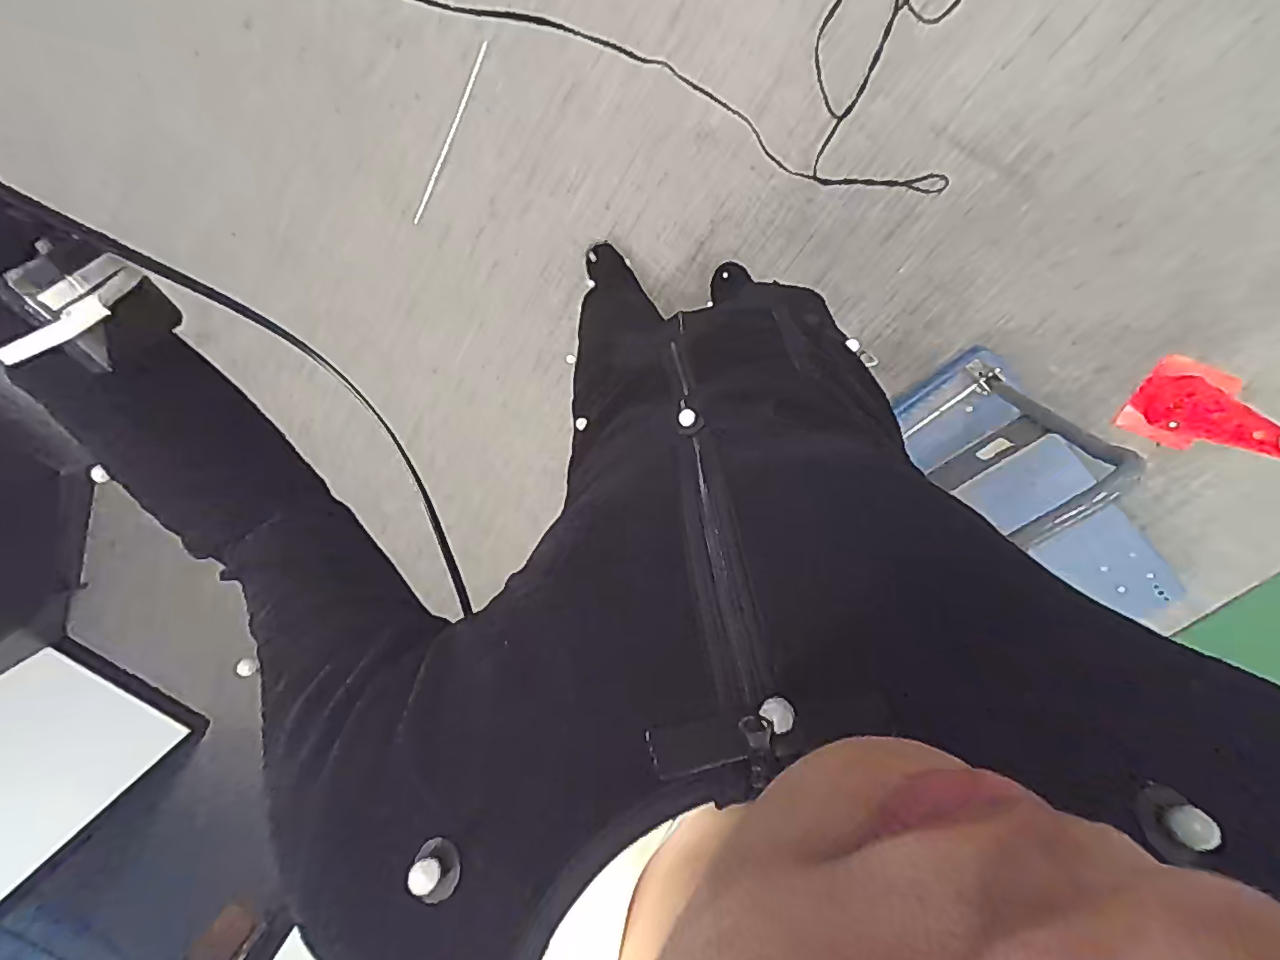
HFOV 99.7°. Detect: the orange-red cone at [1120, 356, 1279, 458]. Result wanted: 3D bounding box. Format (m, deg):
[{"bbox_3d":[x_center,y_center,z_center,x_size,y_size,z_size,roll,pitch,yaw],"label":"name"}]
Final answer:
[{"bbox_3d":[1.318,-0.122,1.195,0.198,0.360,0.199,22,115,0],"label":"orange-red cone"}]
